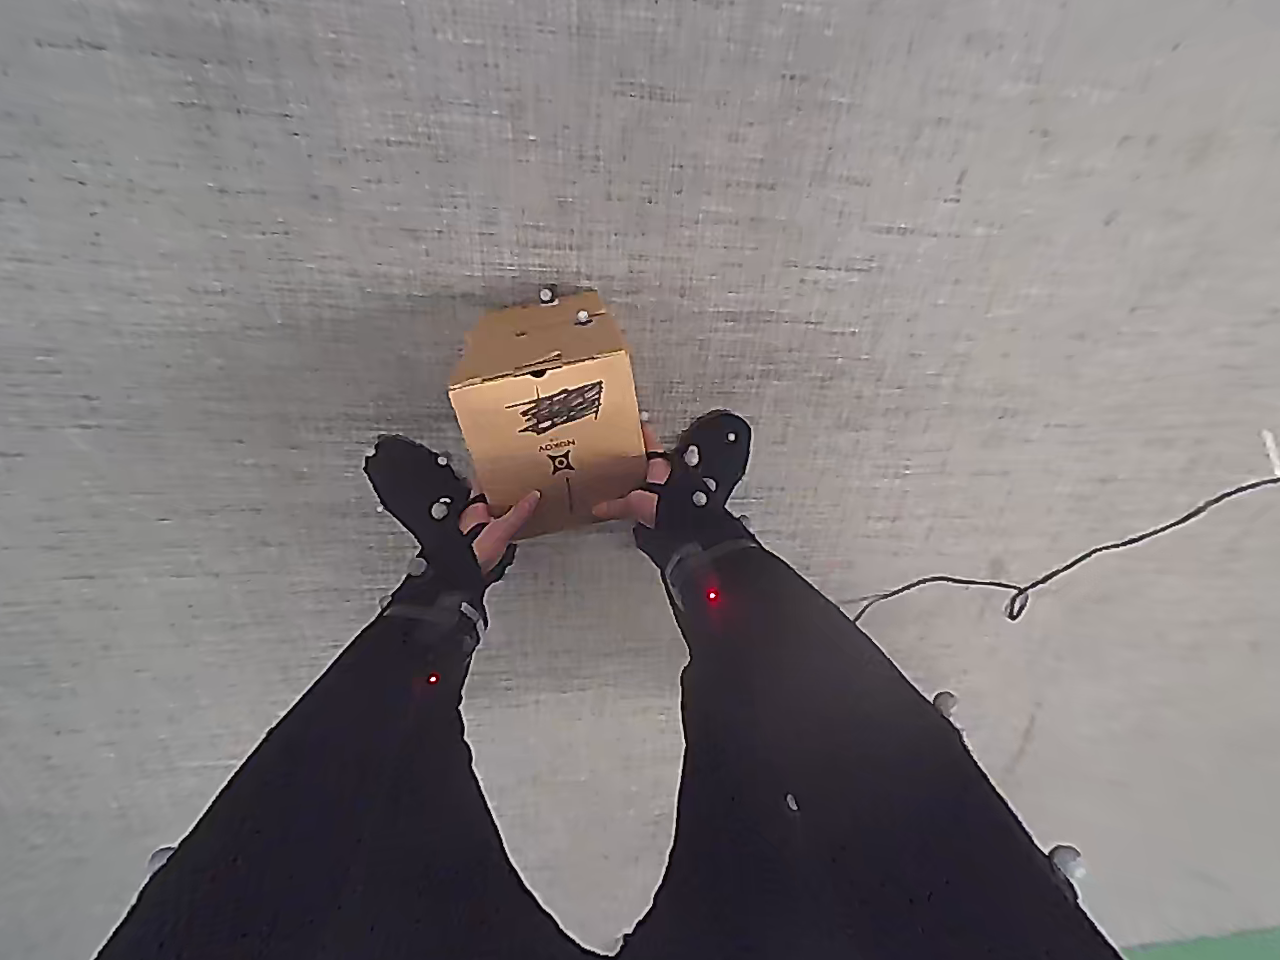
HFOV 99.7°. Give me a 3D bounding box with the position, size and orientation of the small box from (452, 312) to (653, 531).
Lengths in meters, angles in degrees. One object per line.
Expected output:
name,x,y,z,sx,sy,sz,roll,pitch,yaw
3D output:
small box,-0.088,-0.074,0.592,0.168,0.176,0.179,-12,121,-2

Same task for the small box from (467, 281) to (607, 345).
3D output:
small box,-0.115,-0.155,0.733,0.168,0.176,0.179,-13,119,-2
